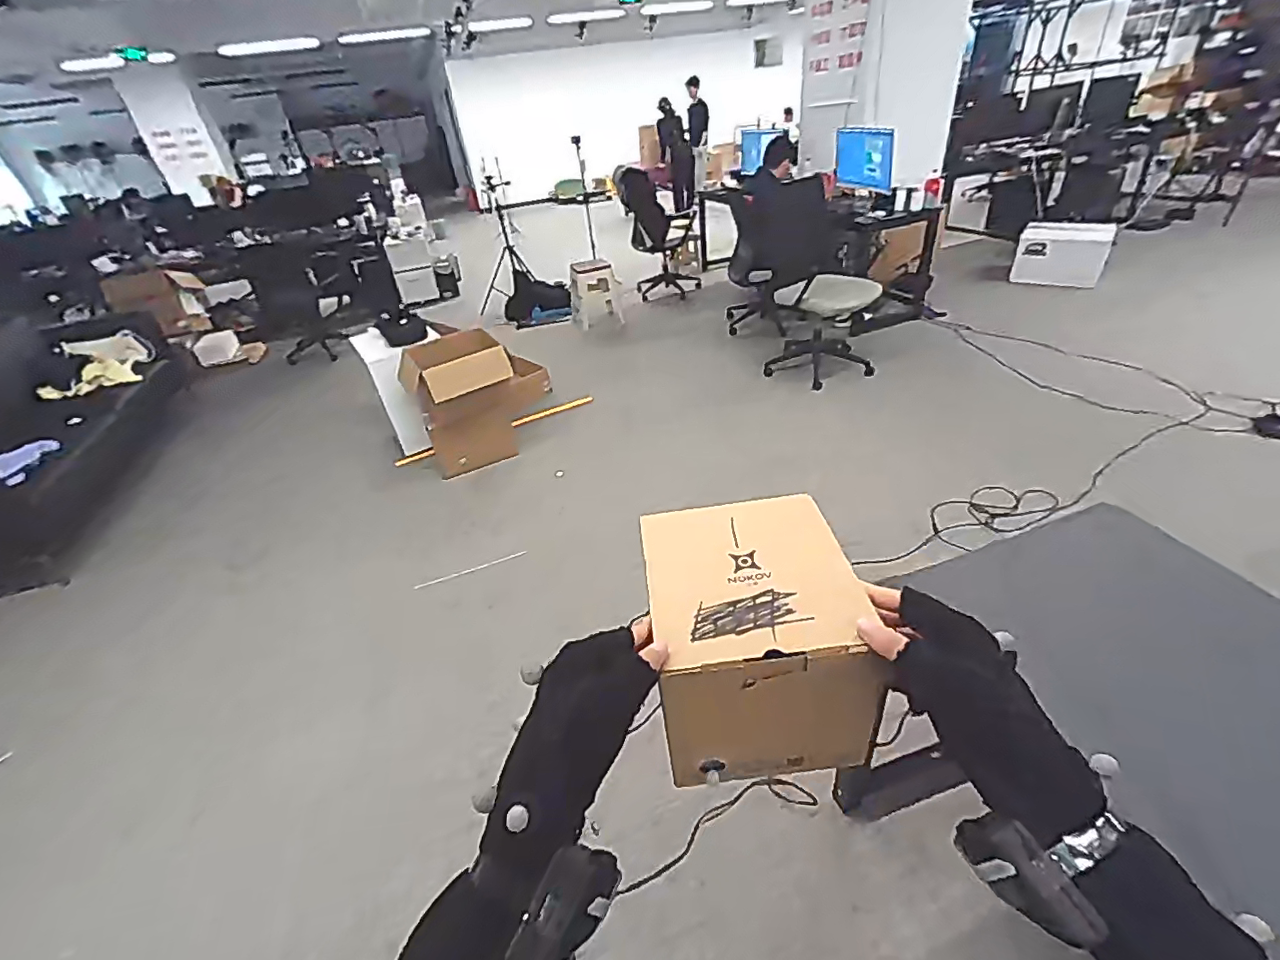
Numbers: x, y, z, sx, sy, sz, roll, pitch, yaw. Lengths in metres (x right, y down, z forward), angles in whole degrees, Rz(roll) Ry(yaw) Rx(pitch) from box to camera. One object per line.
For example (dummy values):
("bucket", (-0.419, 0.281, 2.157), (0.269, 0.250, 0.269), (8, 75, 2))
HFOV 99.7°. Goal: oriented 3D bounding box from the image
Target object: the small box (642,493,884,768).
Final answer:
("small box", (0.097, 0.138, 0.492), (0.168, 0.176, 0.179), (-8, 35, 0))
